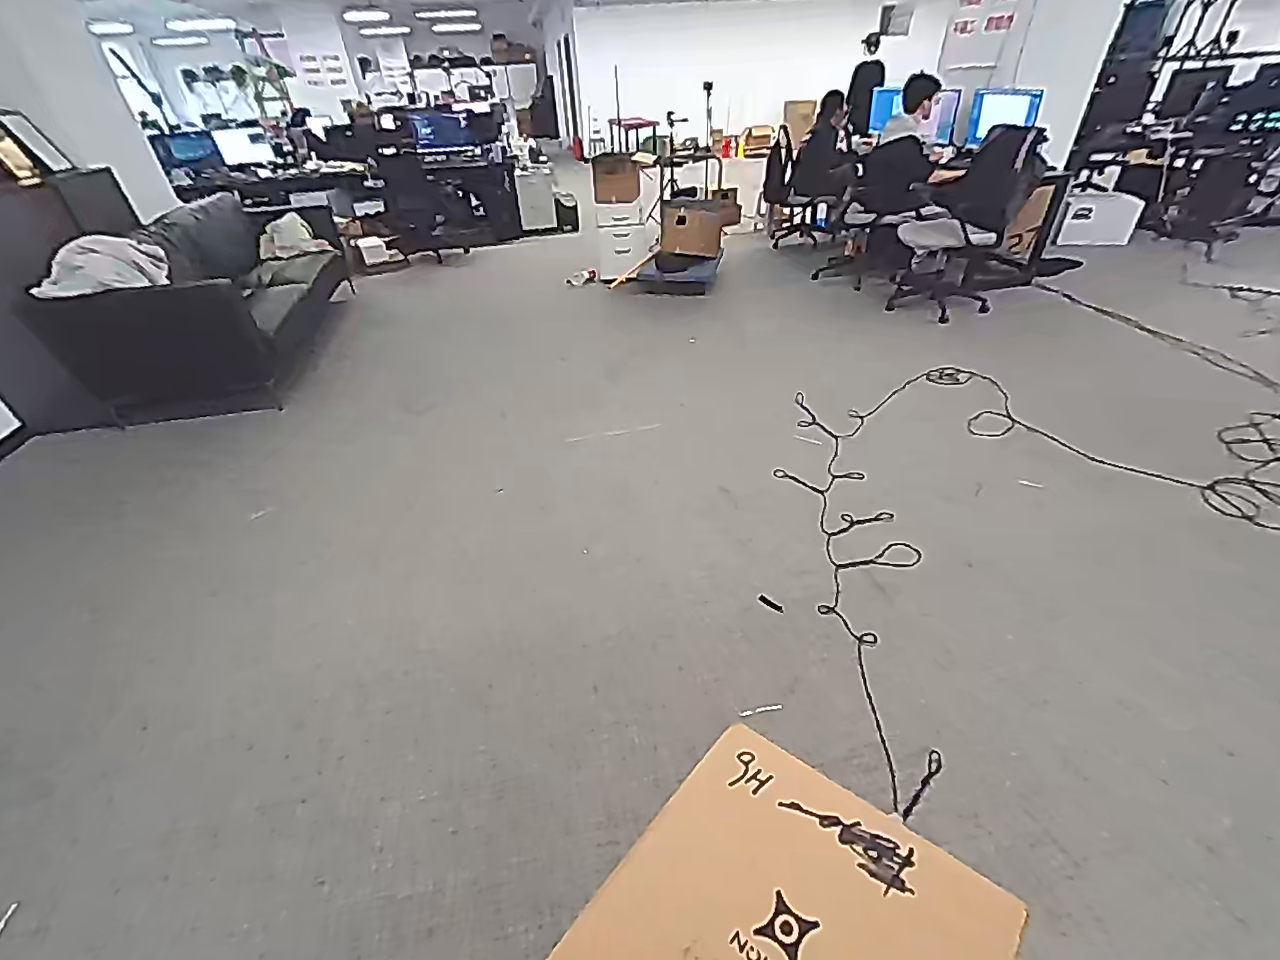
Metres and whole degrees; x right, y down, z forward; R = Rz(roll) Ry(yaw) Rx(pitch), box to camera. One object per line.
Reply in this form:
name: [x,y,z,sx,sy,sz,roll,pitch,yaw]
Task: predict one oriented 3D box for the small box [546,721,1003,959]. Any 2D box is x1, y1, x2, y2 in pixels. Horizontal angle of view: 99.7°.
small box: [0.078,0.291,0.308,0.168,0.176,0.179,19,42,40]
